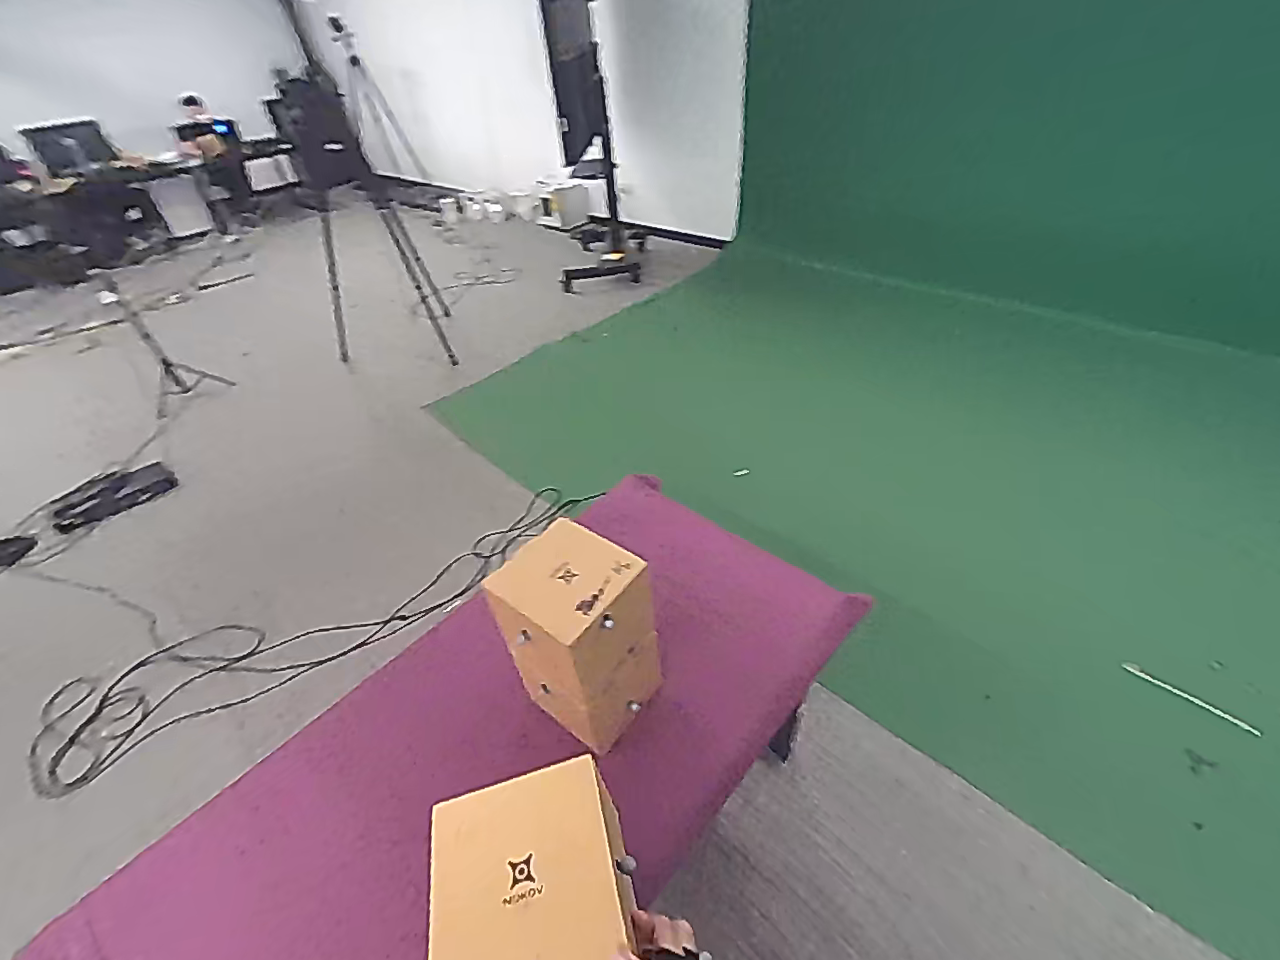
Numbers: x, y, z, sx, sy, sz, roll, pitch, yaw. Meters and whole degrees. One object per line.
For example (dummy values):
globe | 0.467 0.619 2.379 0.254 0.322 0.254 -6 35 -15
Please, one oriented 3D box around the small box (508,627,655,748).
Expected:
small box | -0.091 0.312 0.914 0.179 0.176 0.168 25 50 30

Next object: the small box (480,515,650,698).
small box | -0.103 0.188 0.807 0.179 0.176 0.168 24 49 31
